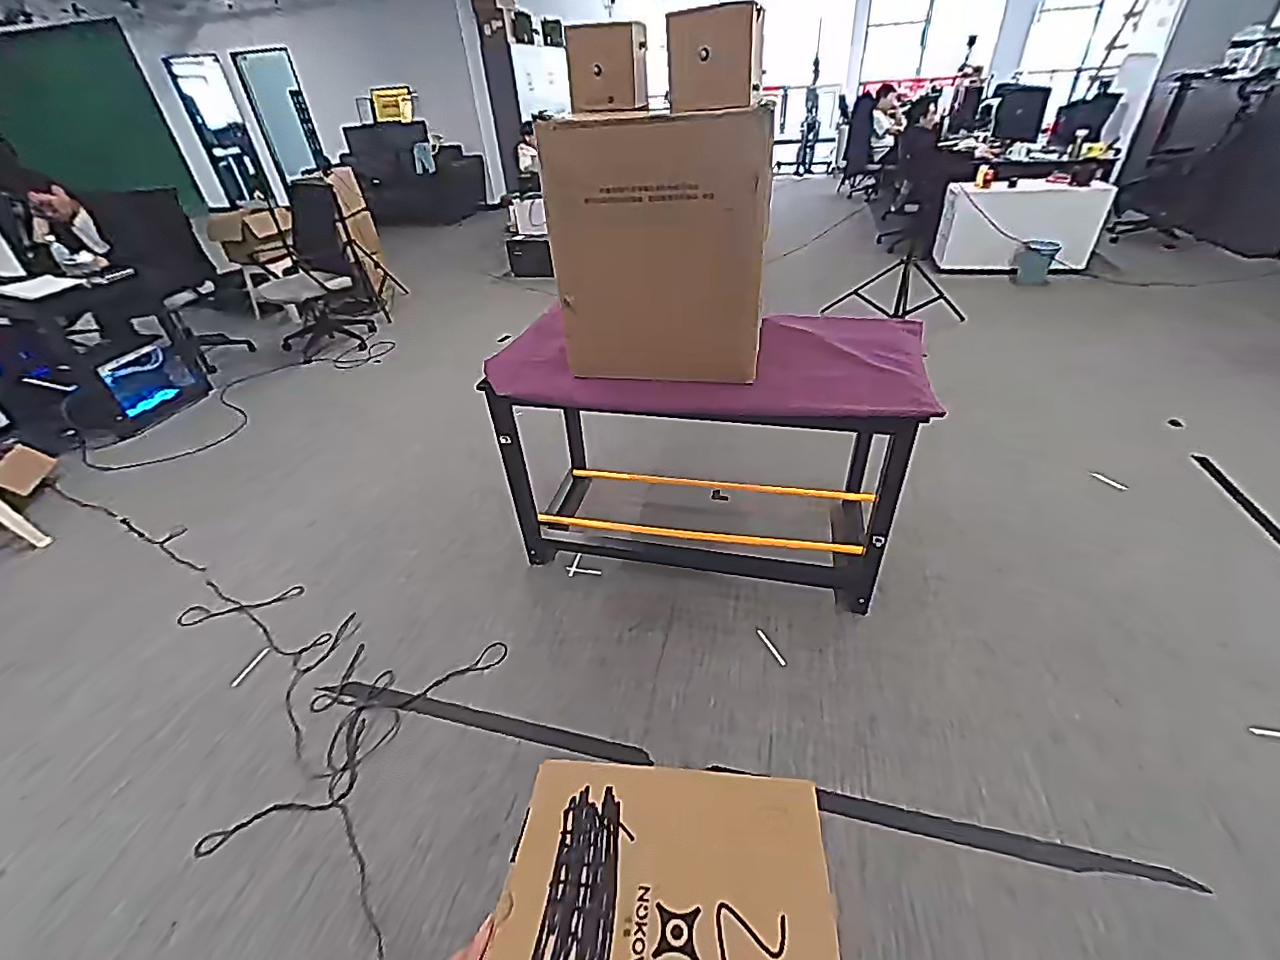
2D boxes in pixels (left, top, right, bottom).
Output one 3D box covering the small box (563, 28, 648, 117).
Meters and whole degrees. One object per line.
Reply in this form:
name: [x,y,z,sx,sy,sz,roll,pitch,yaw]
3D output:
small box: [-0.076,-1.007,1.345,0.168,0.176,0.179,6,38,11]
